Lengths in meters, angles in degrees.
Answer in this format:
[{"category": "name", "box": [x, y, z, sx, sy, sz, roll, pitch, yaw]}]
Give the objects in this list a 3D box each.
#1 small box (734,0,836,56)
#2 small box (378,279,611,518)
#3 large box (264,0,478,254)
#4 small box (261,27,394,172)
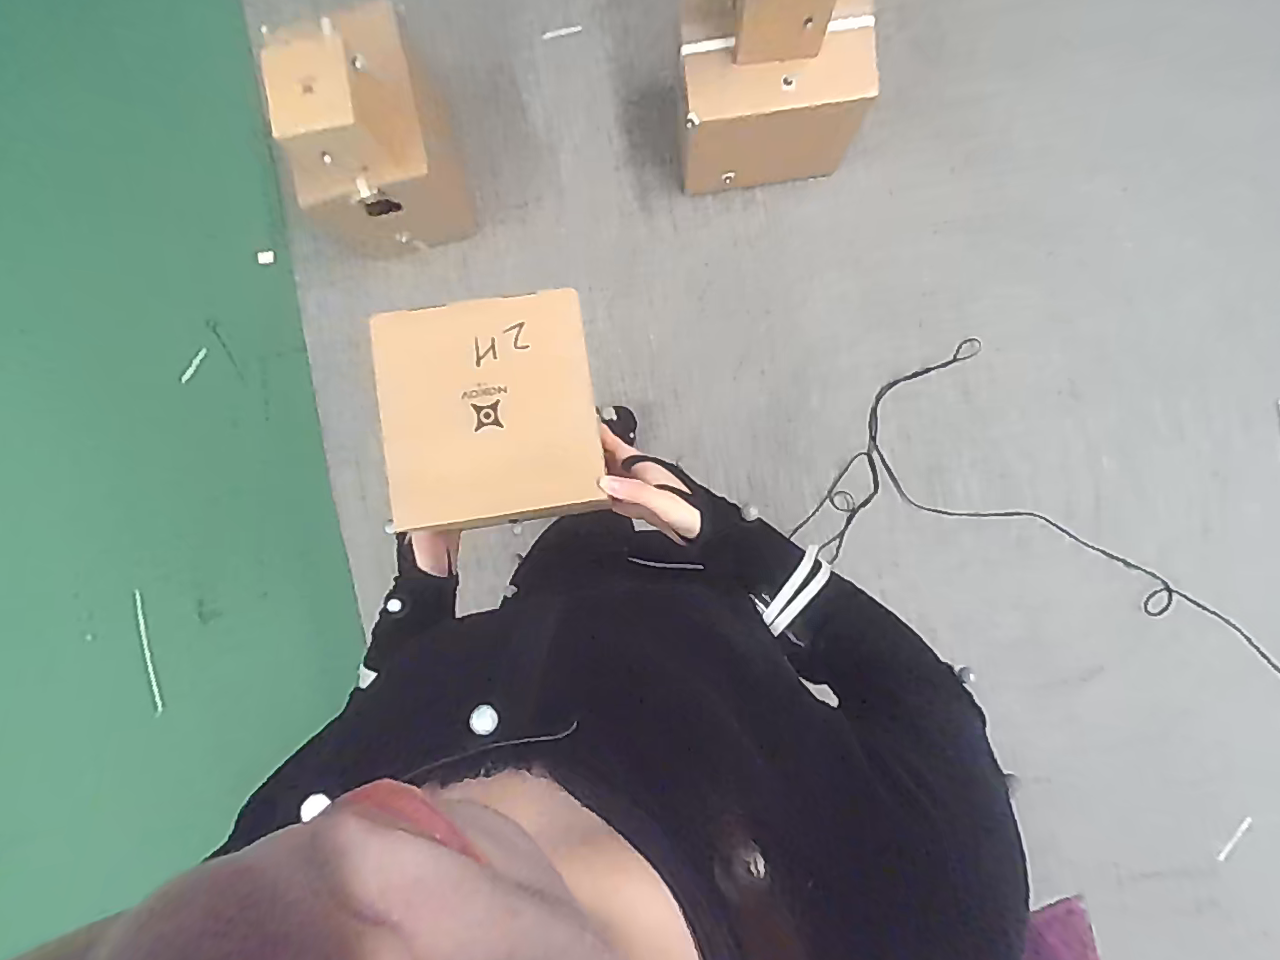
[{"category": "small box", "box": [0.282, -0.971, 1.051, 0.179, 0.176, 0.168, -2, 89, 4]}, {"category": "small box", "box": [-0.119, -0.061, 0.504, 0.168, 0.176, 0.179, -8, 85, -3]}, {"category": "large box", "box": [-0.645, -0.850, 1.353, 0.320, 0.320, 0.408, -12, 90, 4]}, {"category": "small box", "box": [-0.628, -0.763, 1.108, 0.168, 0.176, 0.179, -9, 90, 3]}]
